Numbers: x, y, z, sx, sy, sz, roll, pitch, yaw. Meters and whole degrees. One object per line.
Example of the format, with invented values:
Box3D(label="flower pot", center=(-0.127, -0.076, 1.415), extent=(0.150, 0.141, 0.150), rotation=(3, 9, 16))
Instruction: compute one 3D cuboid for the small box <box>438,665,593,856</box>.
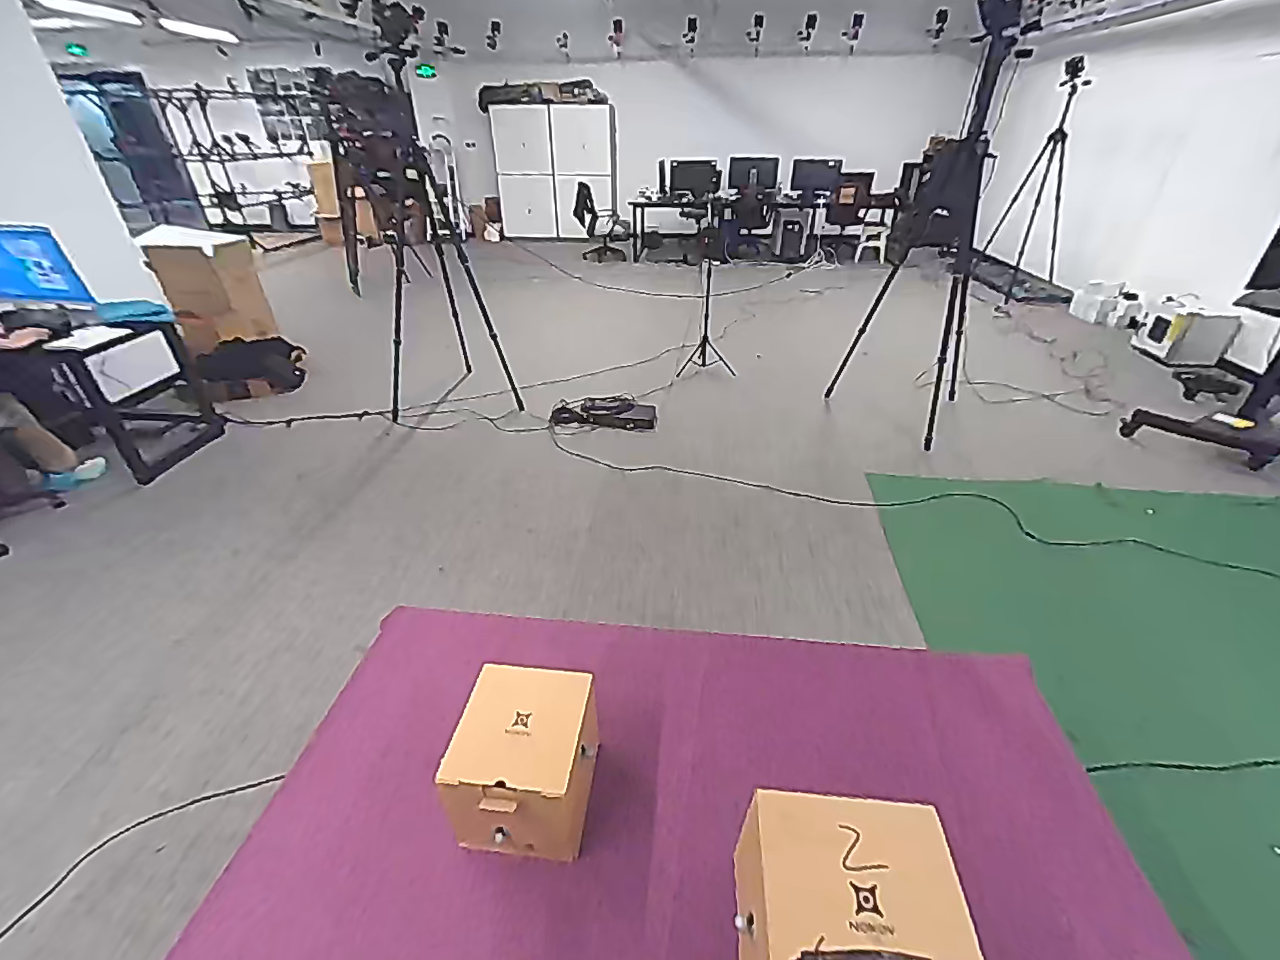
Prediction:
Box3D(label="small box", center=(-0.164, 0.398, 0.777), extent=(0.168, 0.176, 0.179), rotation=(4, 34, 6))
